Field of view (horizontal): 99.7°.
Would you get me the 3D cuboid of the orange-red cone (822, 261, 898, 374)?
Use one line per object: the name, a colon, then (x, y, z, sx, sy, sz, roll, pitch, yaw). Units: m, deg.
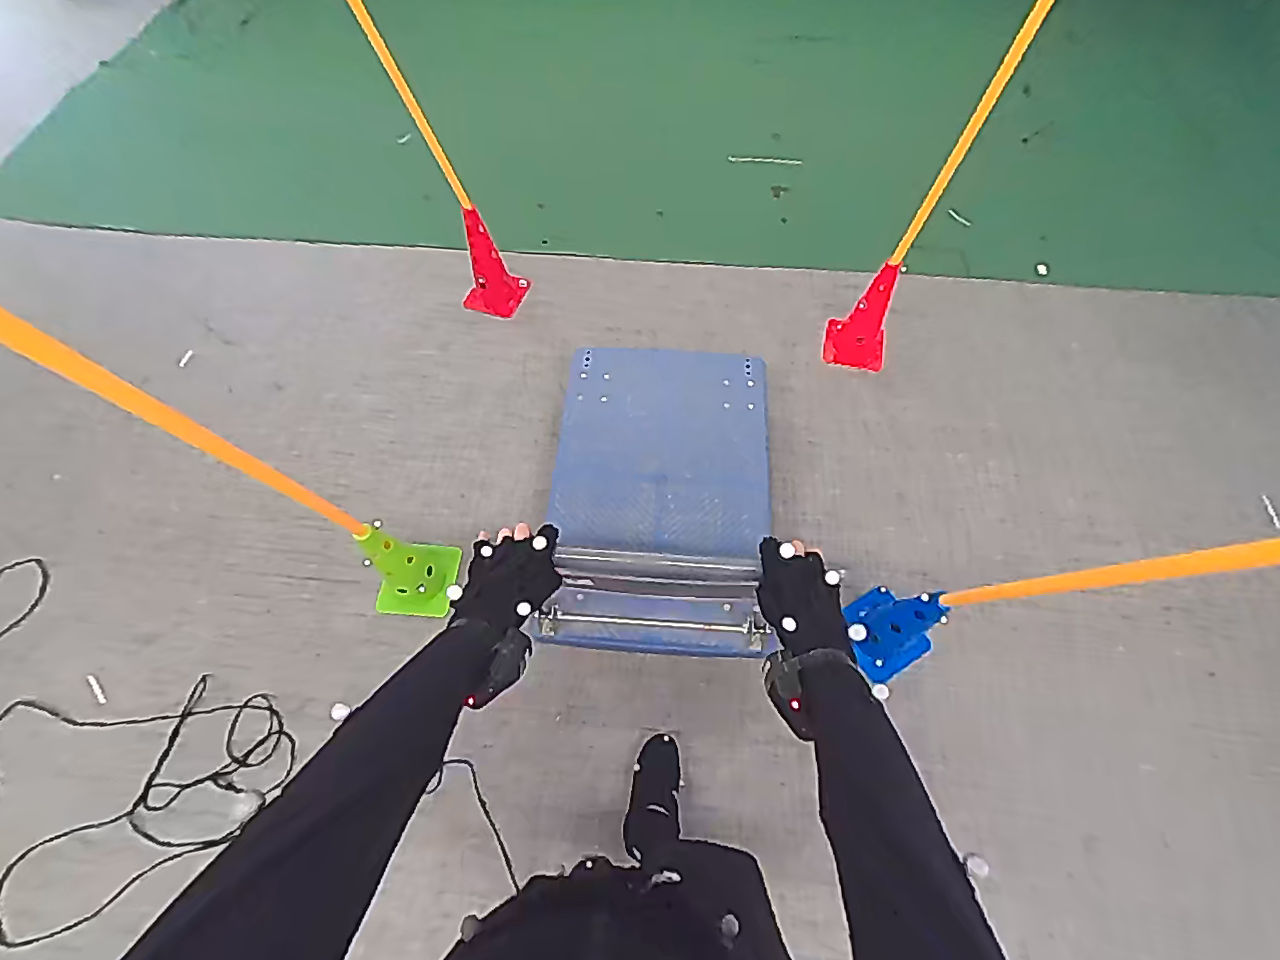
orange-red cone: (0.728, -0.532, 1.703, 0.198, 0.360, 0.199, 14, 65, 9)
